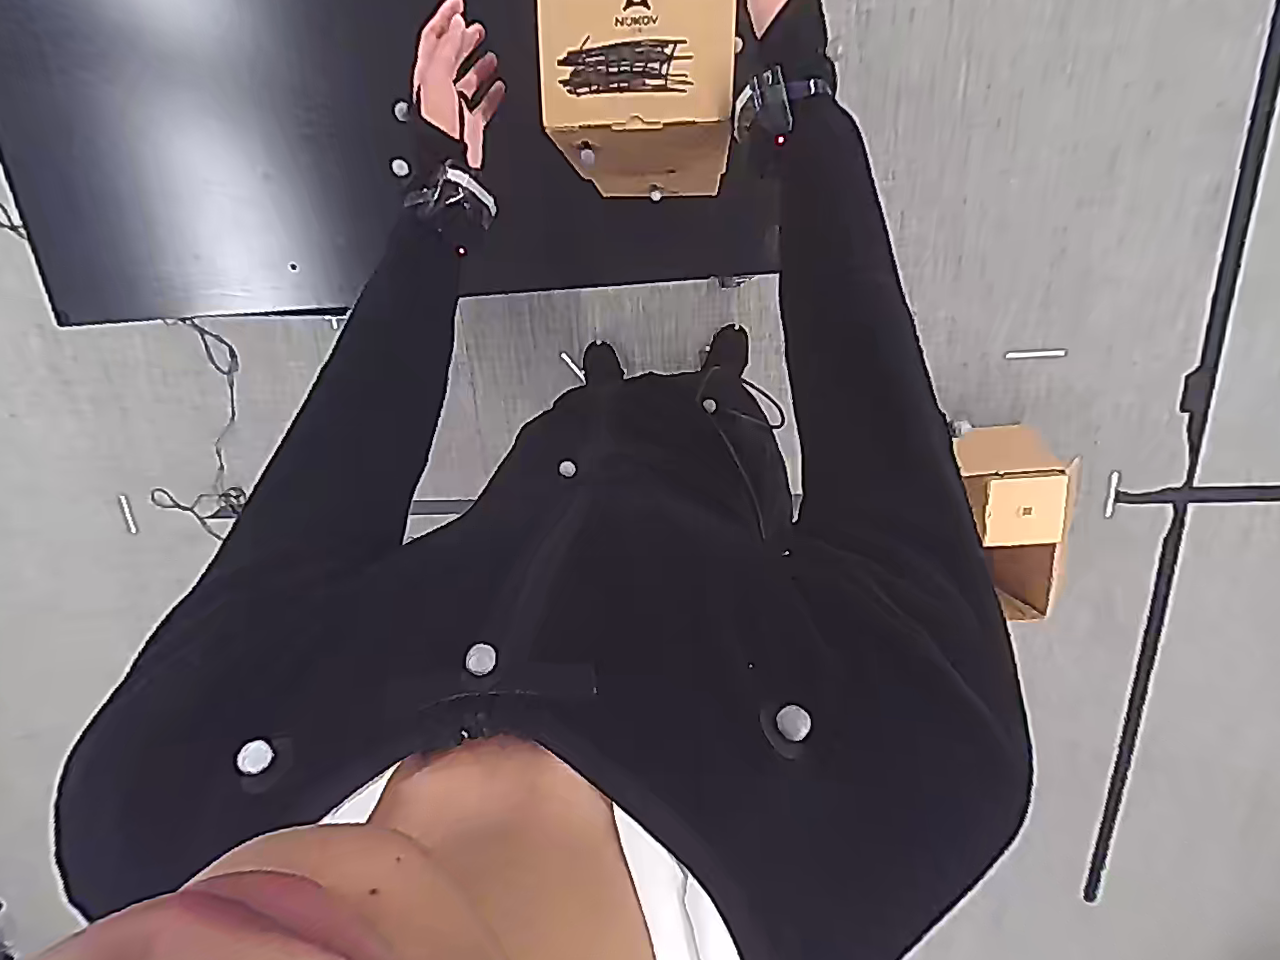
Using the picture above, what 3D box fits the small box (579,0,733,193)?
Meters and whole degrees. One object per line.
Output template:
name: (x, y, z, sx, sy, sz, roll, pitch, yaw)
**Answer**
small box: (0.021, -0.469, 0.663, 0.168, 0.176, 0.179, 3, 107, 6)
